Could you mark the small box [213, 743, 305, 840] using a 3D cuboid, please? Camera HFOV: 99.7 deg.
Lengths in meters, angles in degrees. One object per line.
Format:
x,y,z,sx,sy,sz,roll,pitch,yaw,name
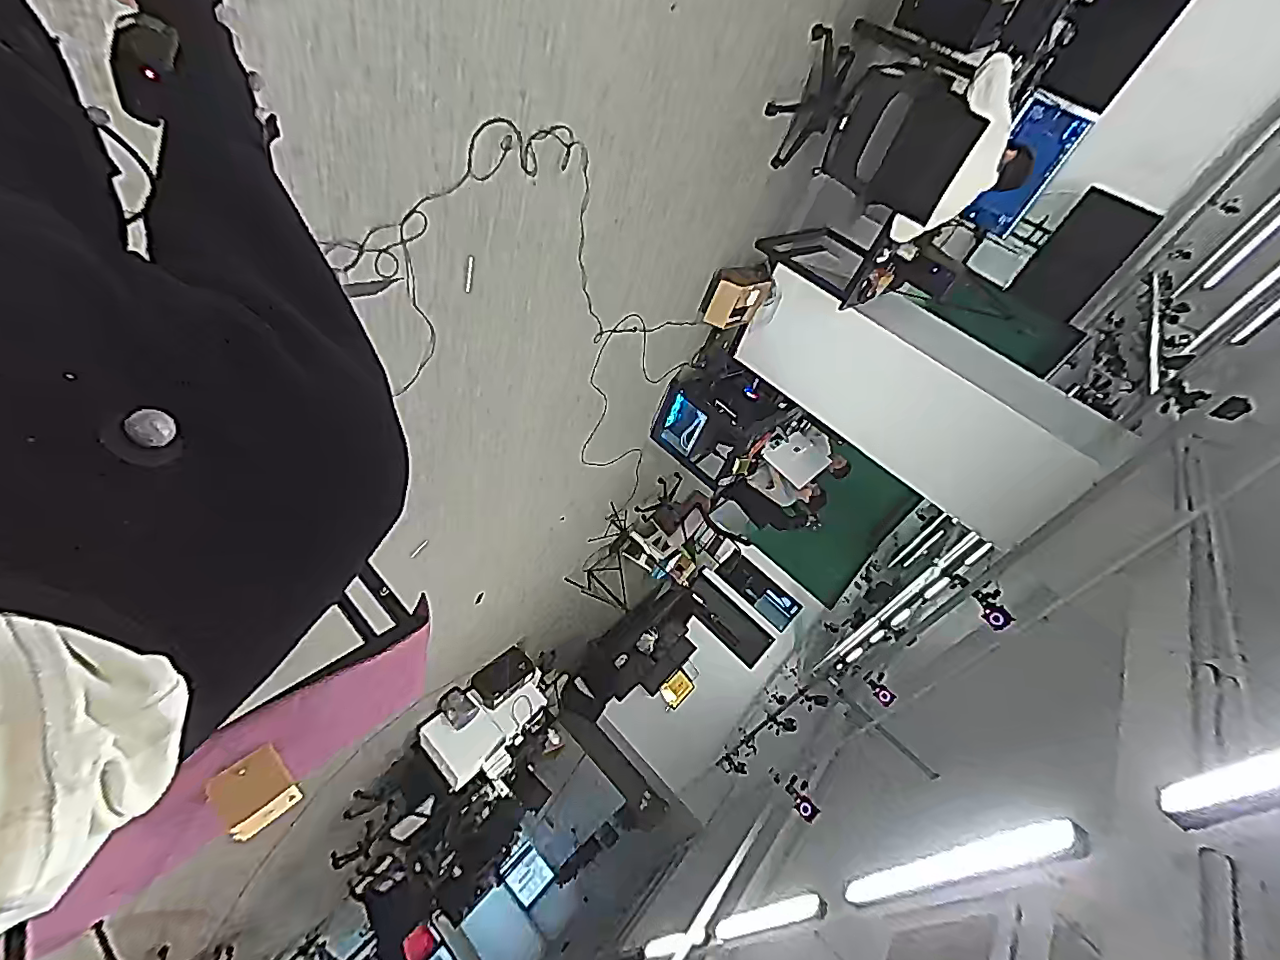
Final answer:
-1.173,0.955,1.661,0.179,0.176,0.168,-31,156,-39,small box
